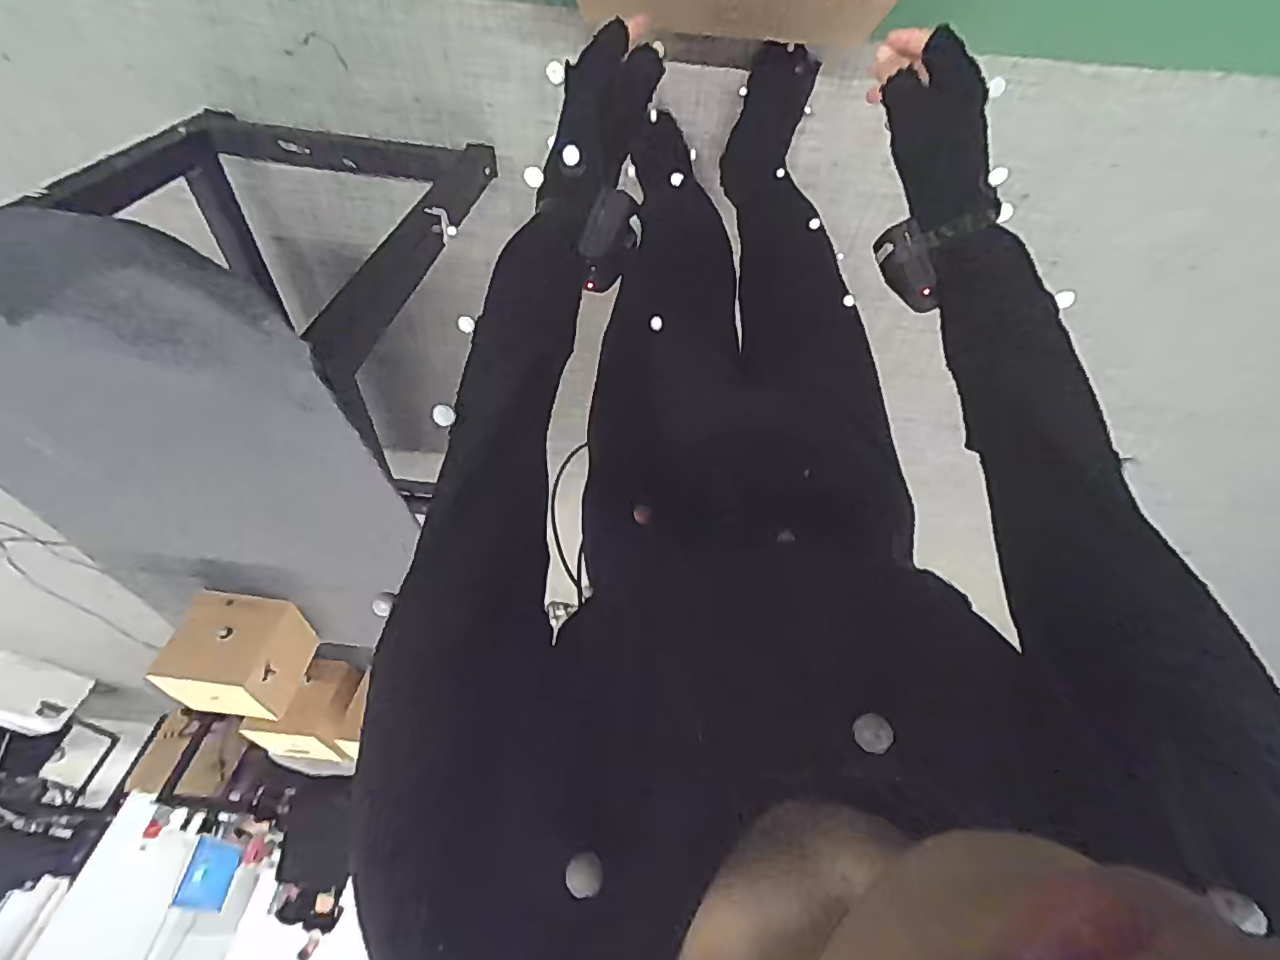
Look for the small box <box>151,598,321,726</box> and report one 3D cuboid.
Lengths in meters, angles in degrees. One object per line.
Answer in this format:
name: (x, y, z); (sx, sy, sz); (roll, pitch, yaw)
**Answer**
small box: (-0.745, 0.342, 1.023); (0.168, 0.176, 0.179); (9, 138, -1)
